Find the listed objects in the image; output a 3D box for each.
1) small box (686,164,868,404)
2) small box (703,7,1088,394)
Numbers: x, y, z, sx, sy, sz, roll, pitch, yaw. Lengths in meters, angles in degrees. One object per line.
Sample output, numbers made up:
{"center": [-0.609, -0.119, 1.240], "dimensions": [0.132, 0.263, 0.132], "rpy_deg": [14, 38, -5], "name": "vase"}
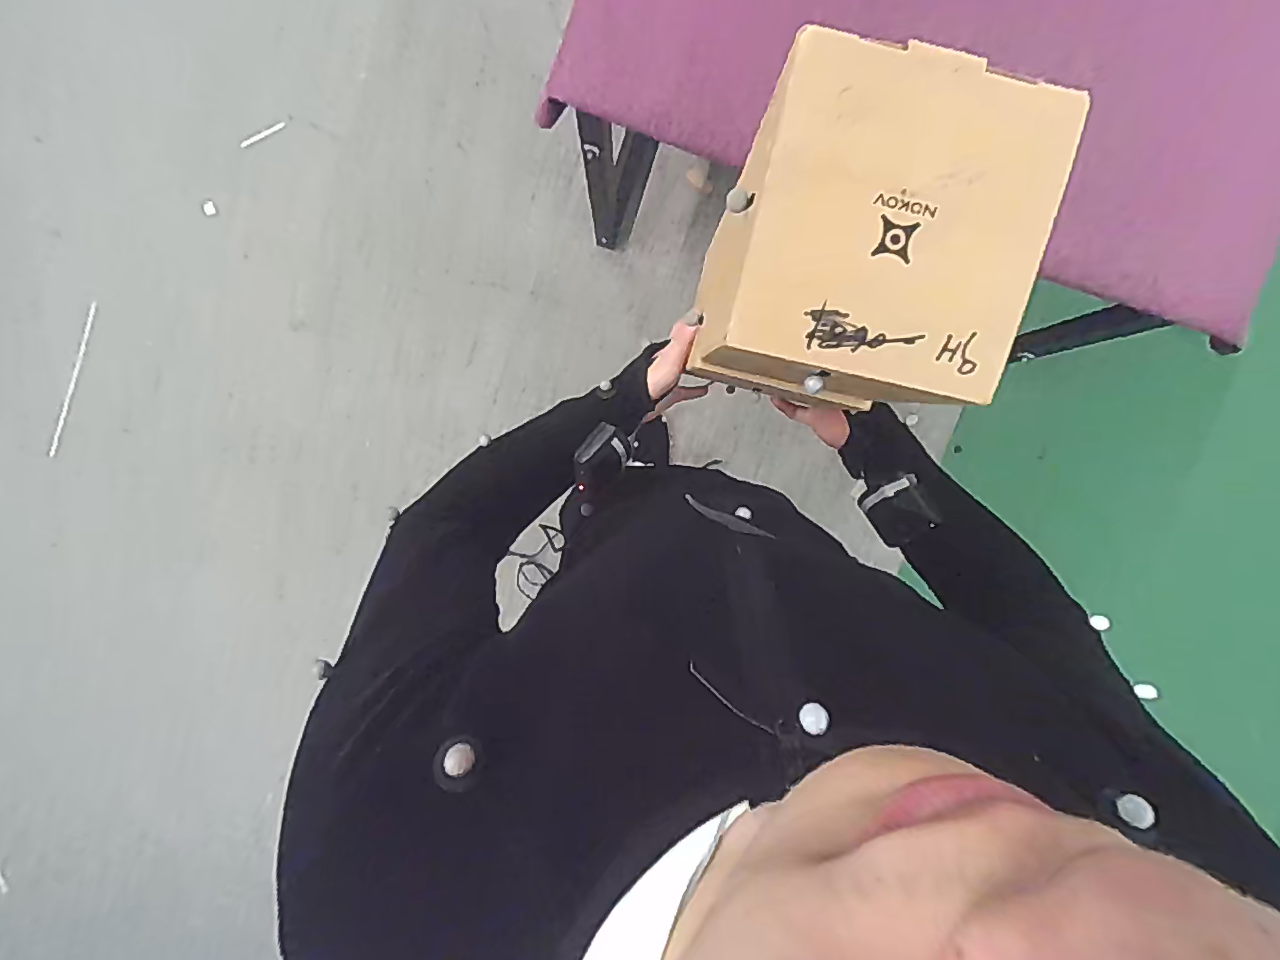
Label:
{"center": [0.146, -0.183, 0.543], "dimensions": [0.168, 0.176, 0.179], "rpy_deg": [14, 100, -1], "name": "small box"}
{"center": [0.145, -0.163, 0.380], "dimensions": [0.168, 0.176, 0.179], "rpy_deg": [13, 99, 0], "name": "small box"}
